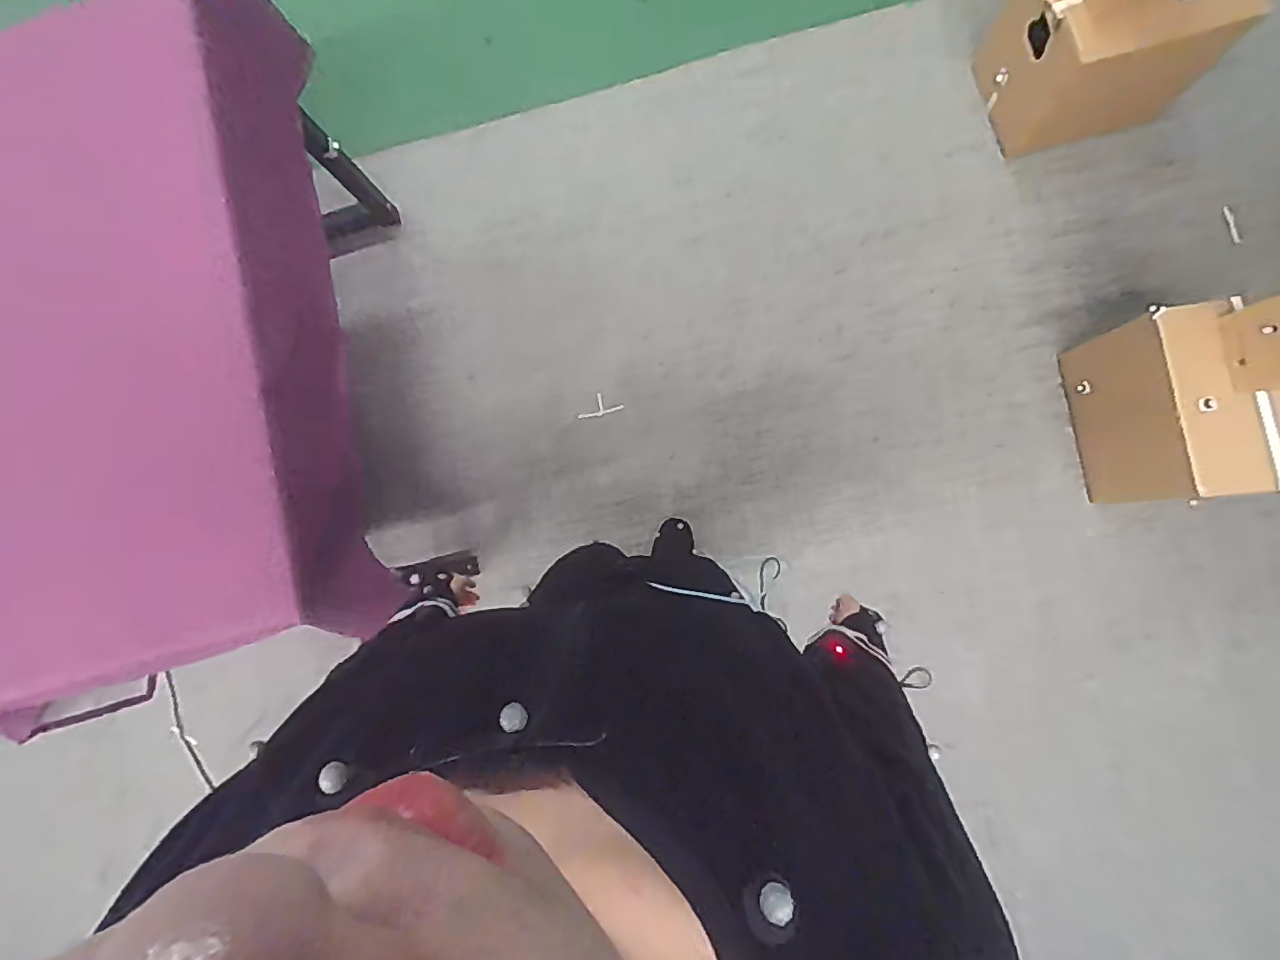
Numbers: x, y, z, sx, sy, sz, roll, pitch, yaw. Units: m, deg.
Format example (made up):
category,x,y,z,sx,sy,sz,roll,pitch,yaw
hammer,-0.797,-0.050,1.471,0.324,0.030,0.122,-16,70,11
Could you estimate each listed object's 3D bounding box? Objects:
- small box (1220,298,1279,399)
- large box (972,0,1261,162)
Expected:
category,x,y,z,sx,sy,sz,roll,pitch,yaw
small box,1.272,-0.258,1.027,0.179,0.176,0.168,-7,84,3
large box,1.157,-1.092,1.370,0.408,0.320,0.320,-13,83,3
